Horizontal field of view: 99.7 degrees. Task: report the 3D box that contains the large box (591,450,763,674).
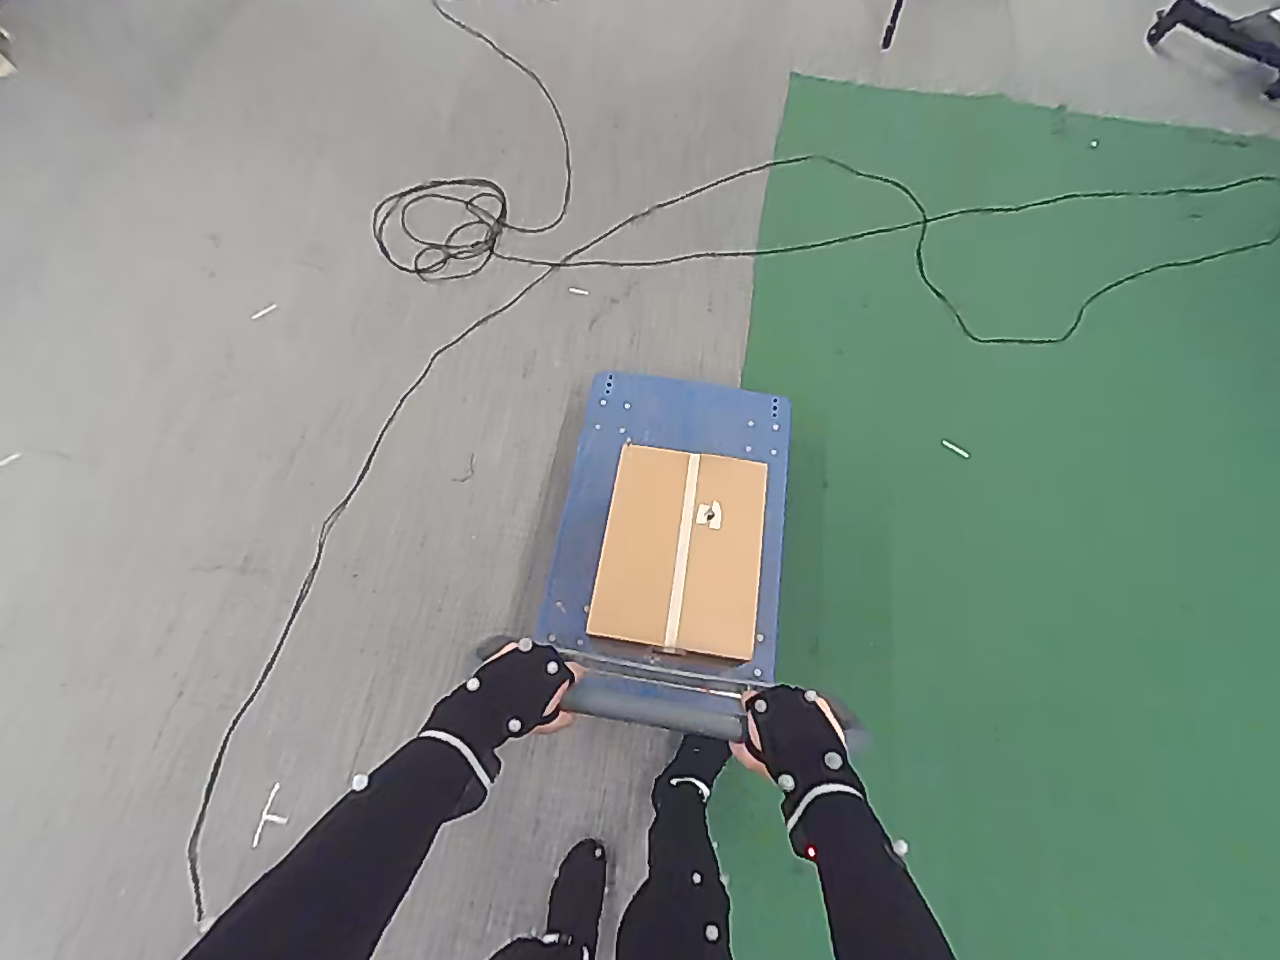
[{"bbox_3d":[0.085,0.196,1.213,0.320,0.320,0.408,9,66,3],"label":"large box"}]
